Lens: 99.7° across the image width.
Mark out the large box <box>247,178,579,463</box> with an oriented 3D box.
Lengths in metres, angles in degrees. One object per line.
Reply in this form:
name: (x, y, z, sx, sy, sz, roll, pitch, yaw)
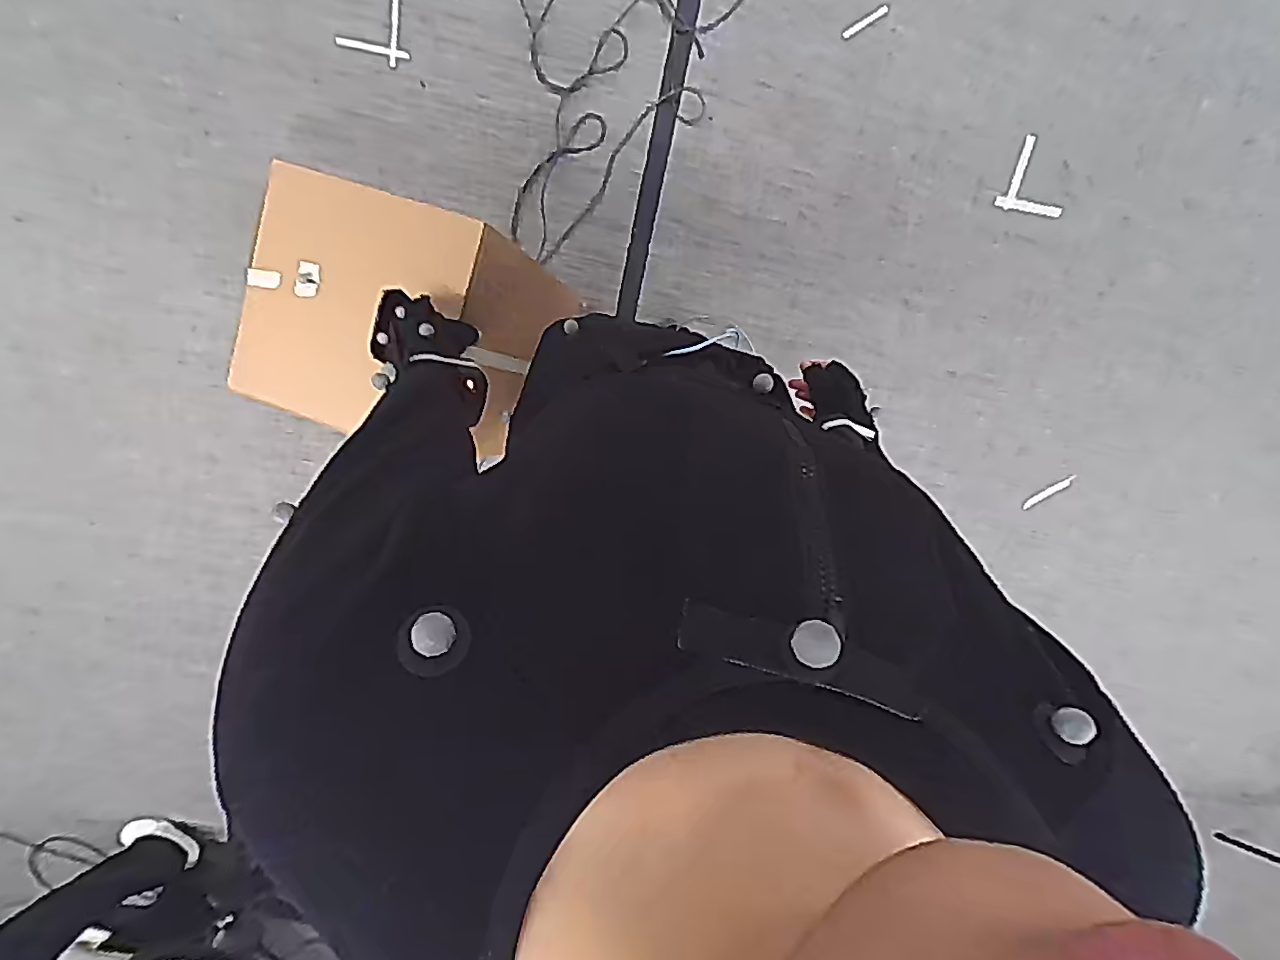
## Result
large box: (-0.340, -0.236, 0.905, 0.320, 0.408, 0.320, 20, 99, 7)
